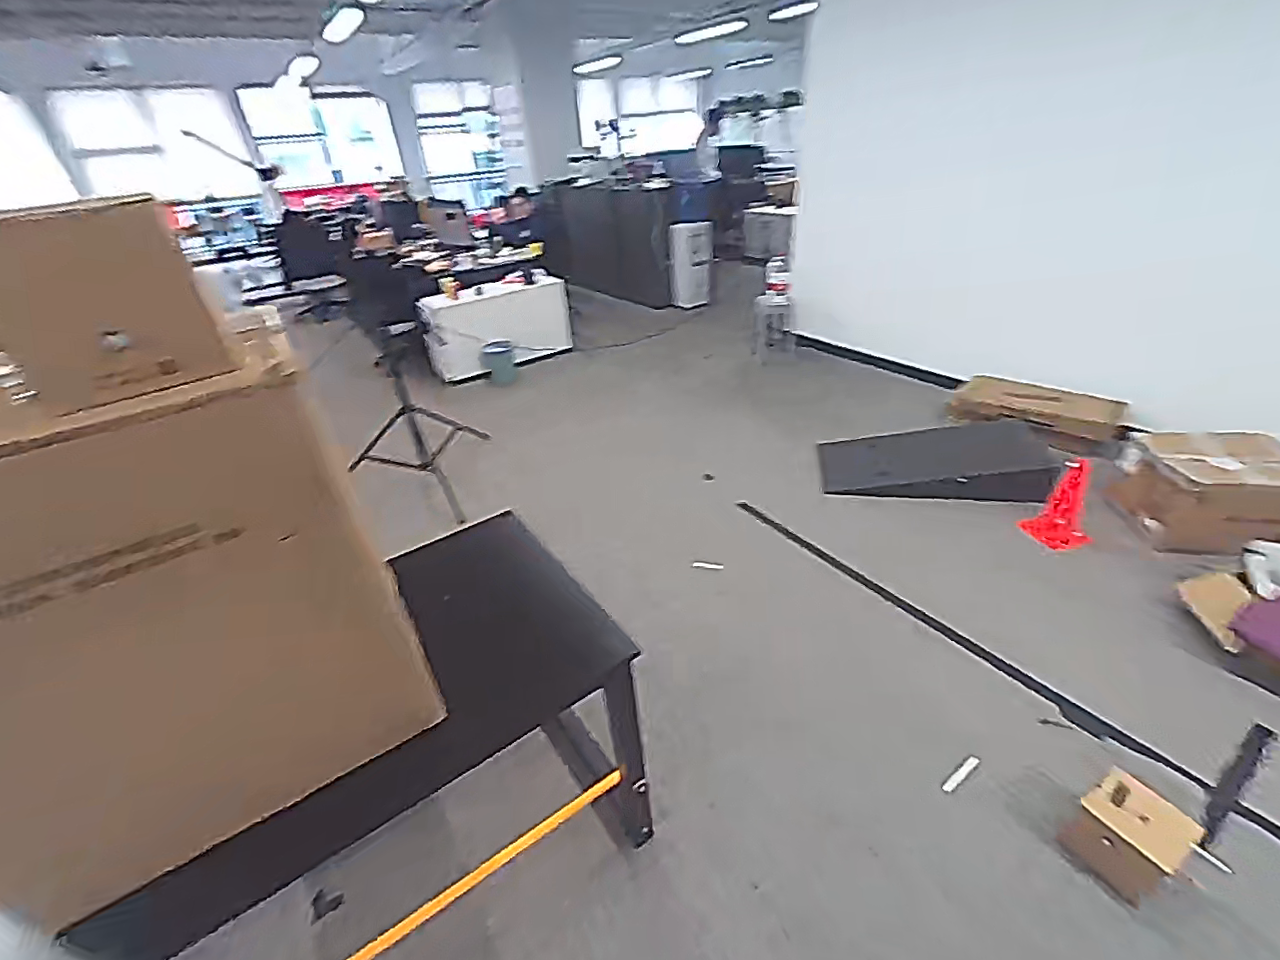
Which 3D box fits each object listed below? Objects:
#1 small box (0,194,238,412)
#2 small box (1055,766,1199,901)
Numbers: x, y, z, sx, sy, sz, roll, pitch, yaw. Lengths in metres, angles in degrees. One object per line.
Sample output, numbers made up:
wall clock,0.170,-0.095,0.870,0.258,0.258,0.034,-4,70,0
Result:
small box,-0.553,-0.189,0.560,0.168,0.176,0.179,-27,40,-28
small box,1.131,0.828,1.271,0.168,0.176,0.179,-21,37,-24
